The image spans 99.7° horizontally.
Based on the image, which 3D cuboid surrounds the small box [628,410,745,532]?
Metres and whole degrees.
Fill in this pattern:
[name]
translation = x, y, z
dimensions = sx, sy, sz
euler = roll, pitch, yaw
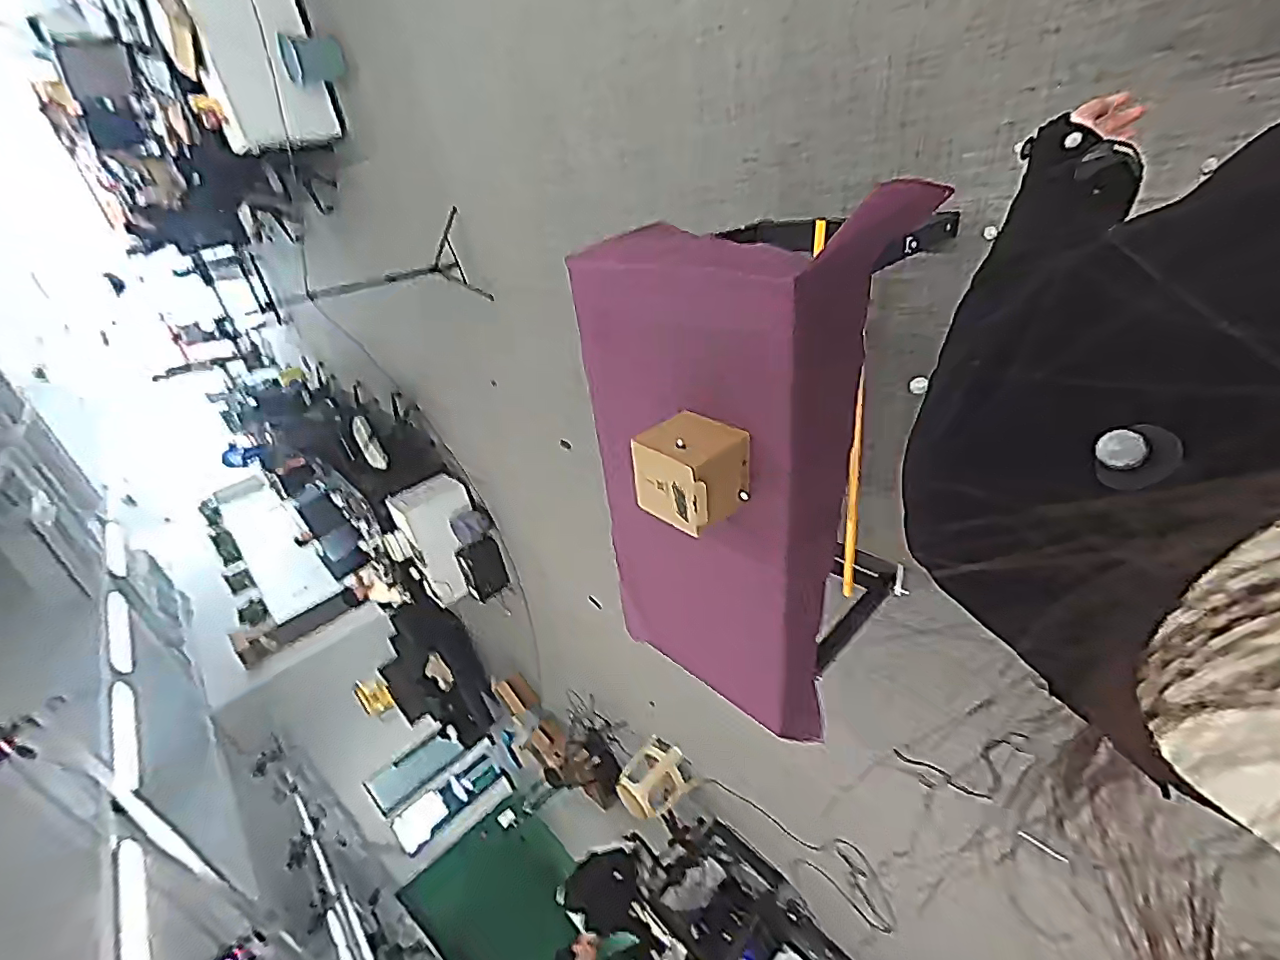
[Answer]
[small box]
translation = 0.101, -0.028, 1.117
dimensions = 0.179, 0.176, 0.168
euler = 27, 135, 40
